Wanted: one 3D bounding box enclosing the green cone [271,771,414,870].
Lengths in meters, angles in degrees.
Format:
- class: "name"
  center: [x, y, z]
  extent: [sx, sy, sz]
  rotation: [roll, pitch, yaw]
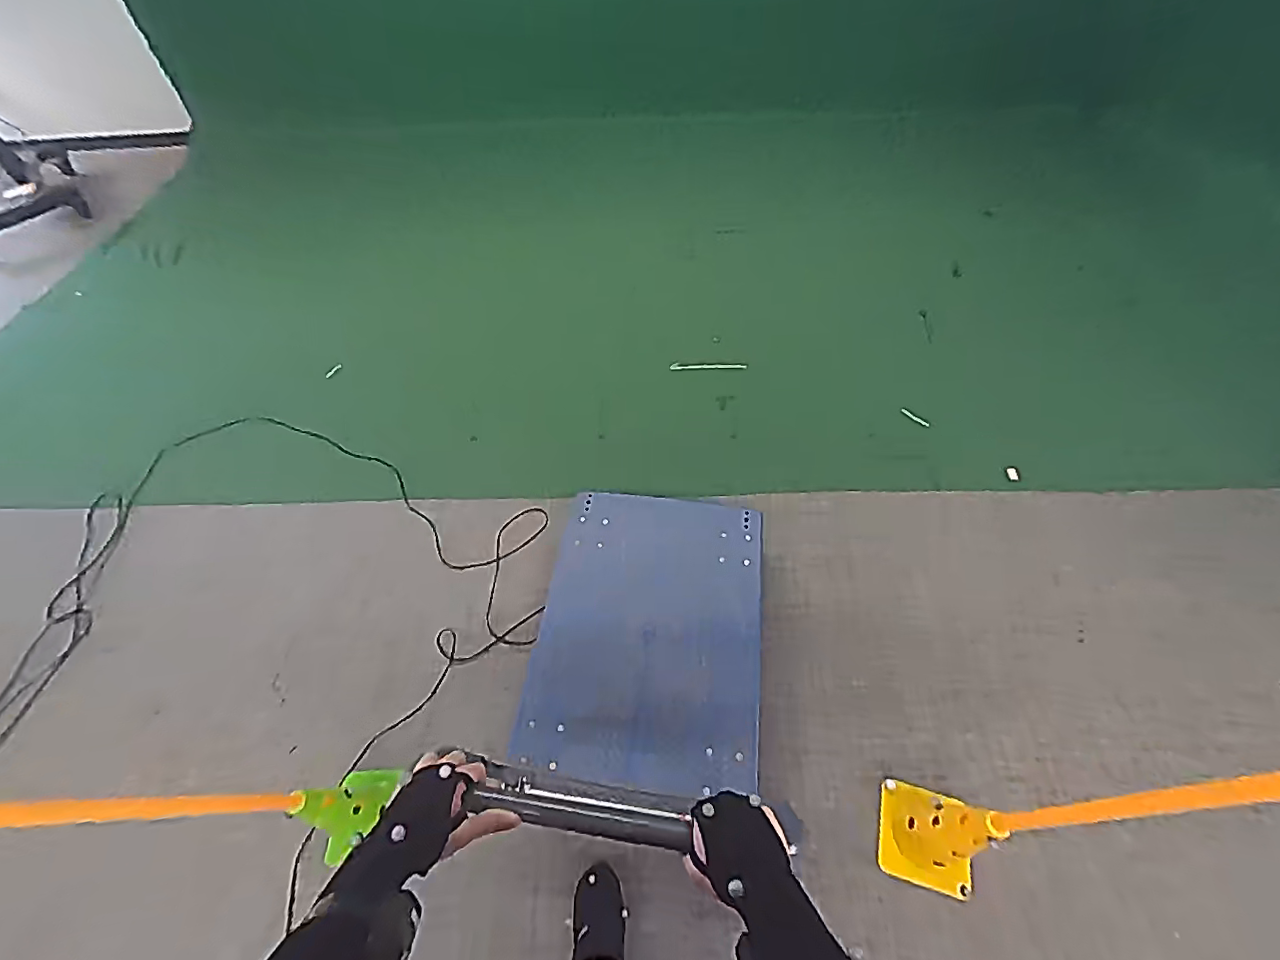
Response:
- class: "green cone"
  center: [-0.676, 0.727, 1.185]
  extent: [0.202, 0.368, 0.200]
  rotation: [-5, 53, 1]
